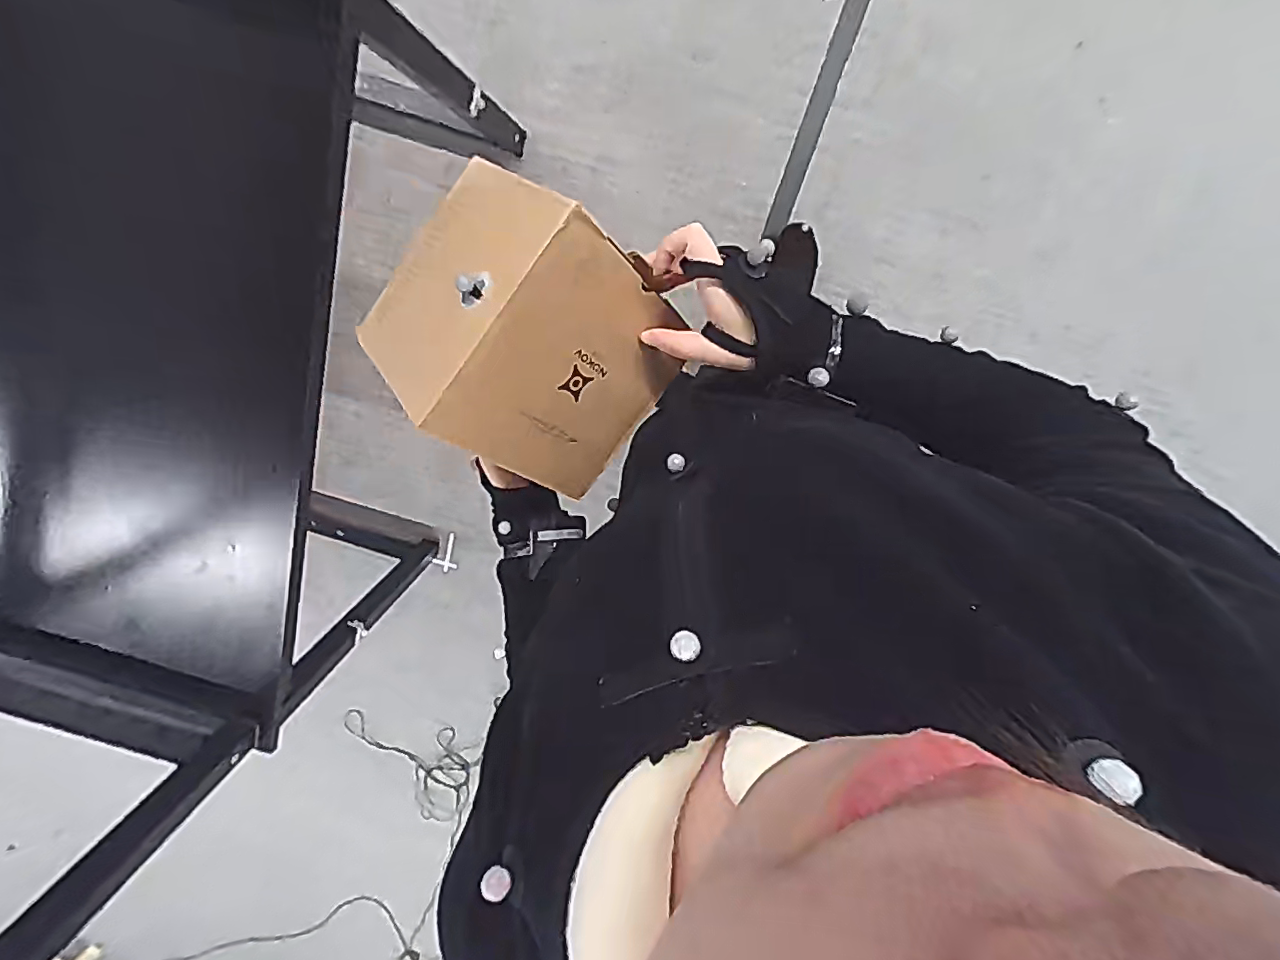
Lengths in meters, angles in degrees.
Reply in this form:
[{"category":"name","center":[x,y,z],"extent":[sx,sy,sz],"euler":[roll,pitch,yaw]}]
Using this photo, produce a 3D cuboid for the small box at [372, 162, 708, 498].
[{"category":"small box","center":[-0.085,-0.120,0.438],"extent":[0.179,0.176,0.168],"euler":[-51,141,6]}]
